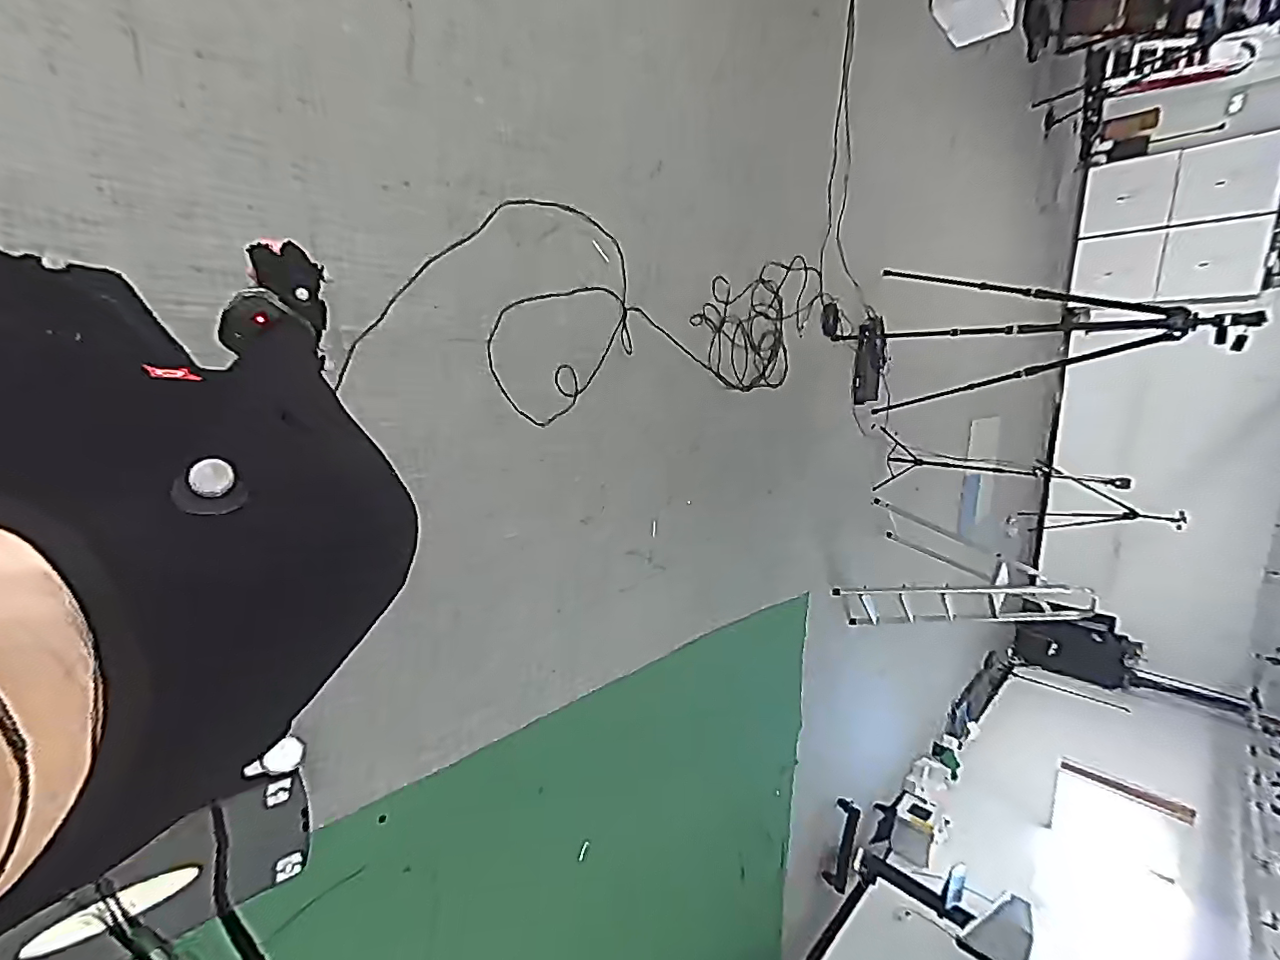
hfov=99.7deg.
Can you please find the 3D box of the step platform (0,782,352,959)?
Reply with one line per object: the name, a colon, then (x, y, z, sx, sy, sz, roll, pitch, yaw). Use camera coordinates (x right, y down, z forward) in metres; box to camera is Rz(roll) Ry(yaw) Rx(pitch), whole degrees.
step platform: (-0.927, 0.861, 0.982, 0.684, 0.204, 0.286, -10, 104, -45)
